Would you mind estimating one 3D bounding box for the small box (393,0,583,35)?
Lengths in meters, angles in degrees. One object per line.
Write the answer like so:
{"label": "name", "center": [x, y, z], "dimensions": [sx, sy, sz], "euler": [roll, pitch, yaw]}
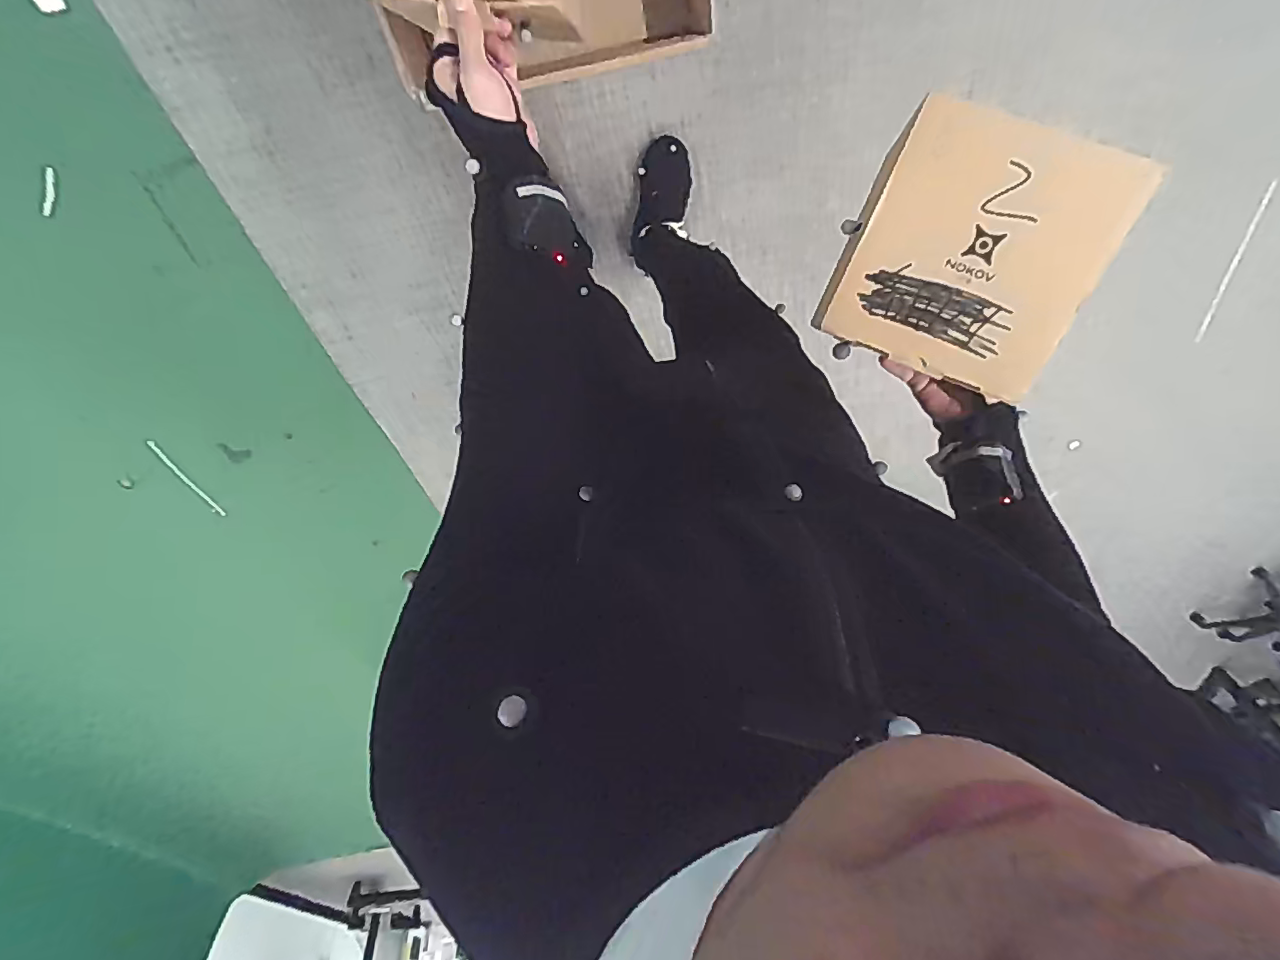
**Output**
{"label": "small box", "center": [-0.141, -0.512, 0.466], "dimensions": [0.168, 0.176, 0.179], "euler": [4, 120, 1]}
